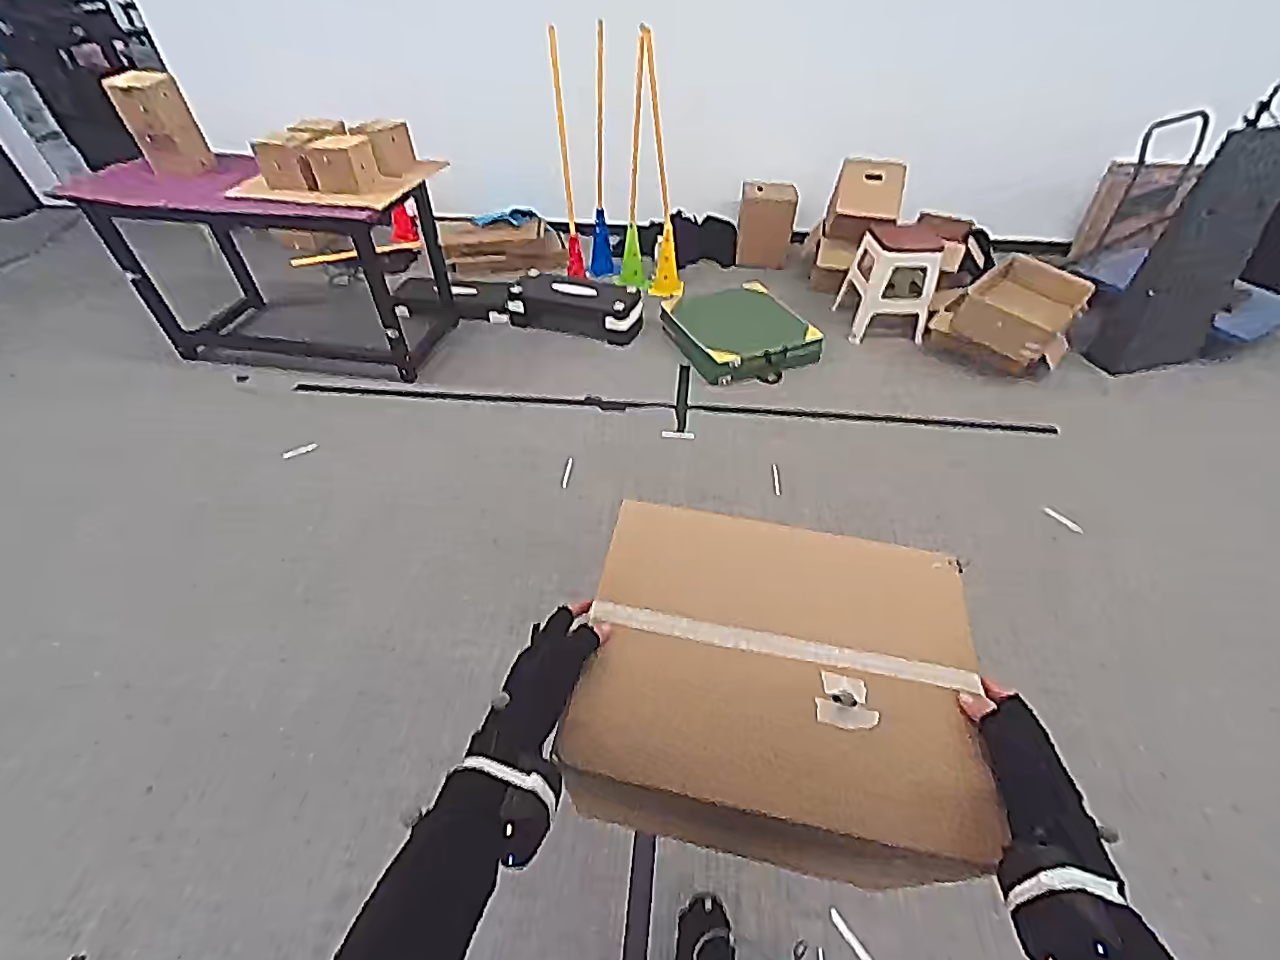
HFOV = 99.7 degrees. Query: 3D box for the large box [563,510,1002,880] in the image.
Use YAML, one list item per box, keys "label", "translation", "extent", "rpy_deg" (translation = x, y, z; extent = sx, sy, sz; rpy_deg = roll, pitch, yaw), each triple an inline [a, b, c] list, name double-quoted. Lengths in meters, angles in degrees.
- label: "large box"
  translation: [0.144, 0.276, 0.693]
  extent: [0.408, 0.320, 0.320]
  rpy_deg: [9, 52, 7]
